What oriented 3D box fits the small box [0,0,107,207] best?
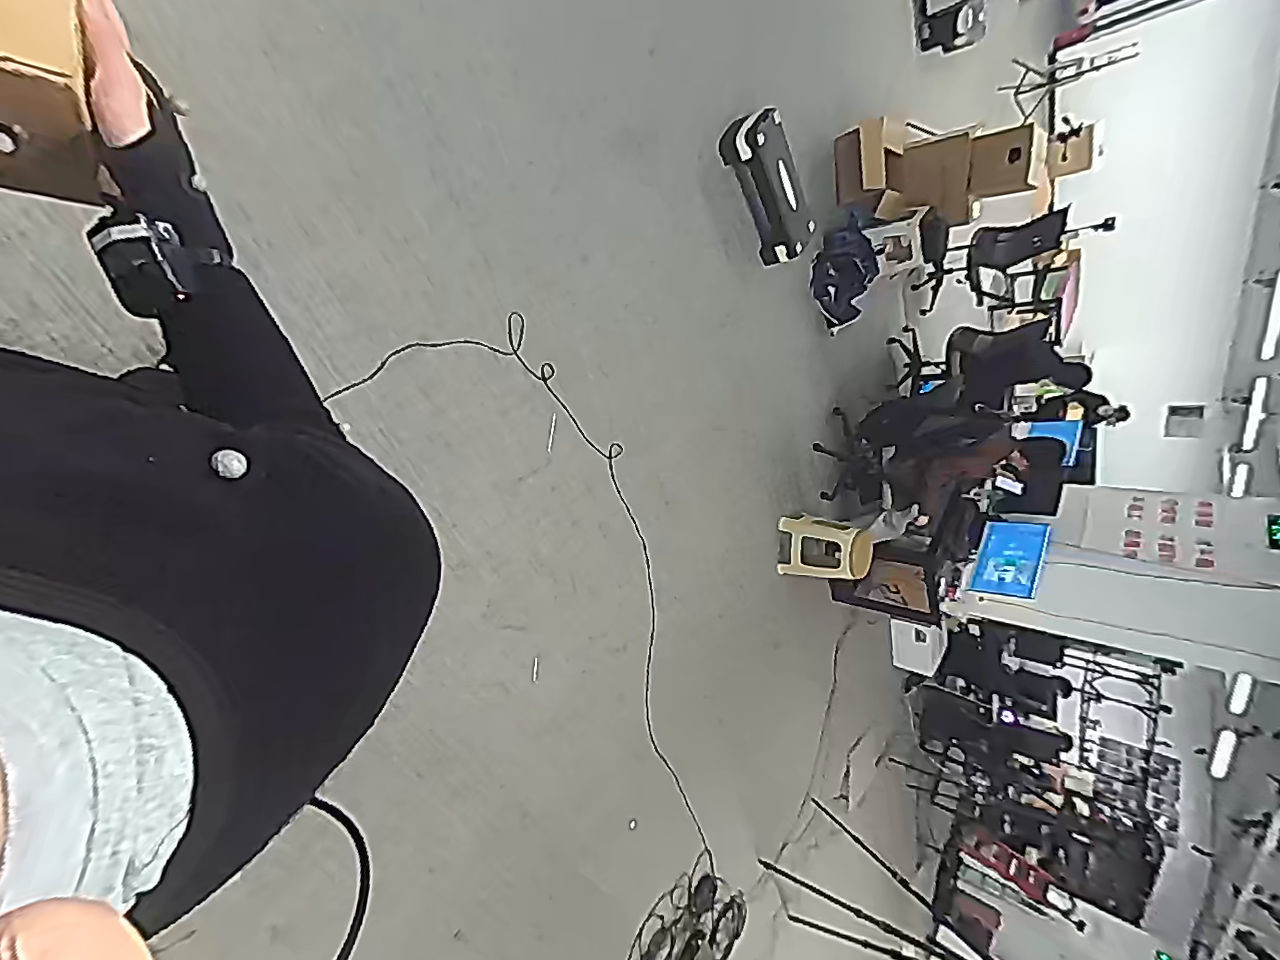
[{"bbox_3d":[-0.474,-0.316,0.354,0.168,0.176,0.179,-4,84,-42],"label":"small box"}]
